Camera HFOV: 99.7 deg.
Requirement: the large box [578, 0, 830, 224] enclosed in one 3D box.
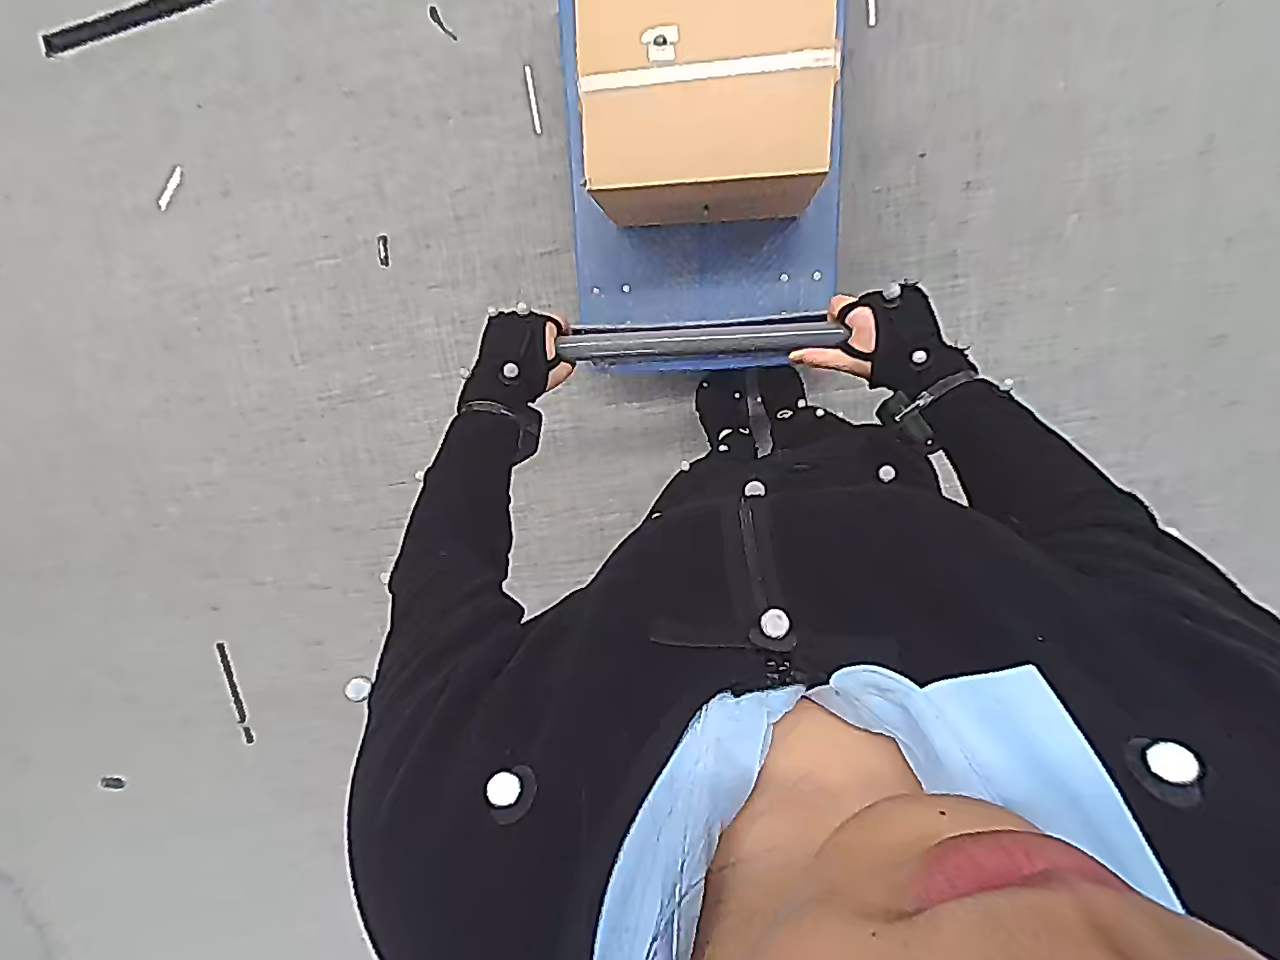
[{"bbox_3d":[0.125,-0.693,1.022,0.408,0.320,0.320,0,103,9],"label":"large box"}]
